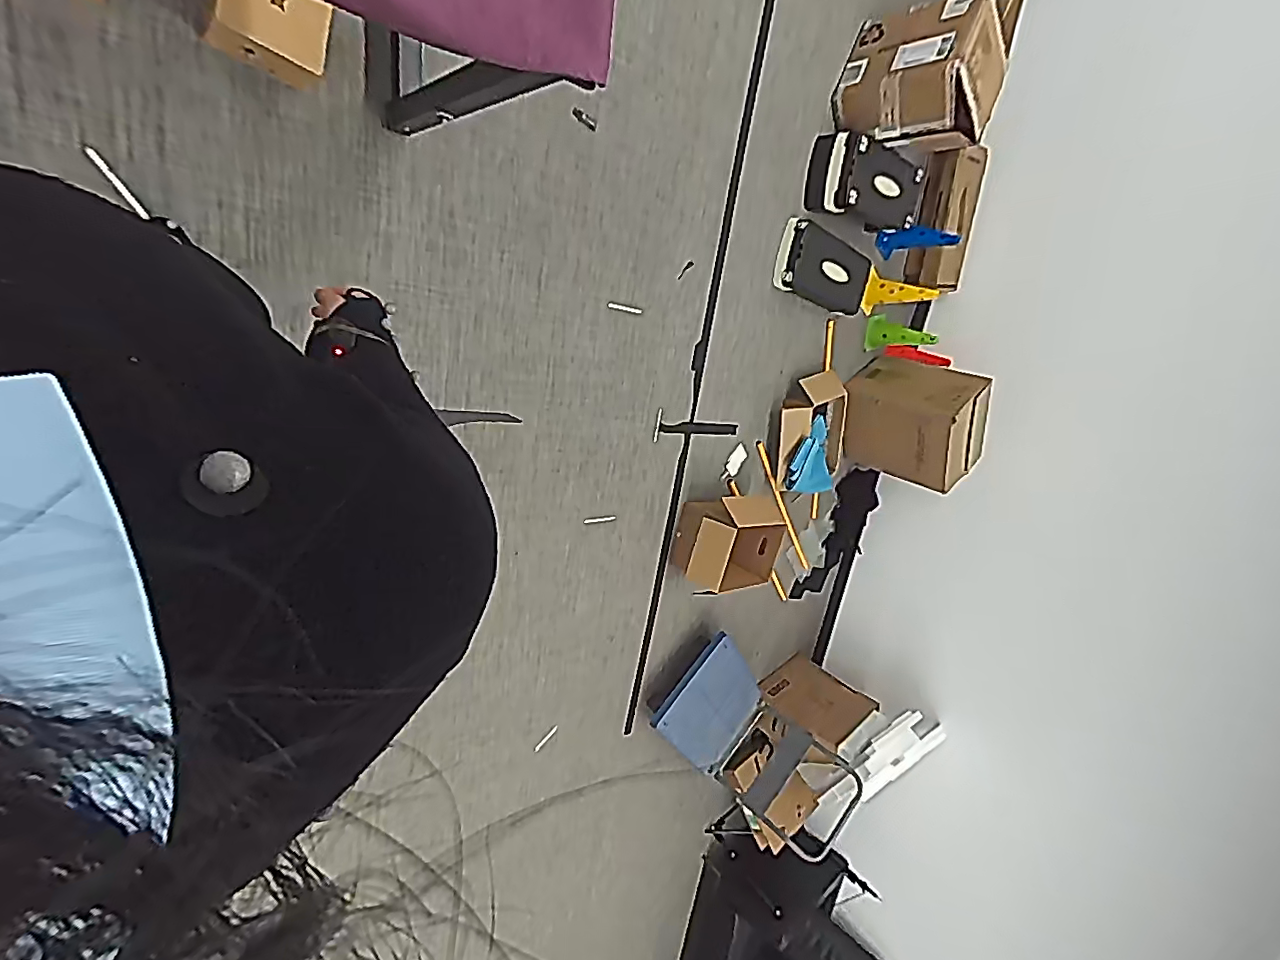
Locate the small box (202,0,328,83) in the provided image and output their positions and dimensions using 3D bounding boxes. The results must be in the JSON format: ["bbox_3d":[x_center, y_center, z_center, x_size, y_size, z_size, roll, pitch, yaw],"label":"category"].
[{"bbox_3d":[-0.702,-0.888,1.012,0.168,0.176,0.179,6,103,-45],"label":"small box"}]
